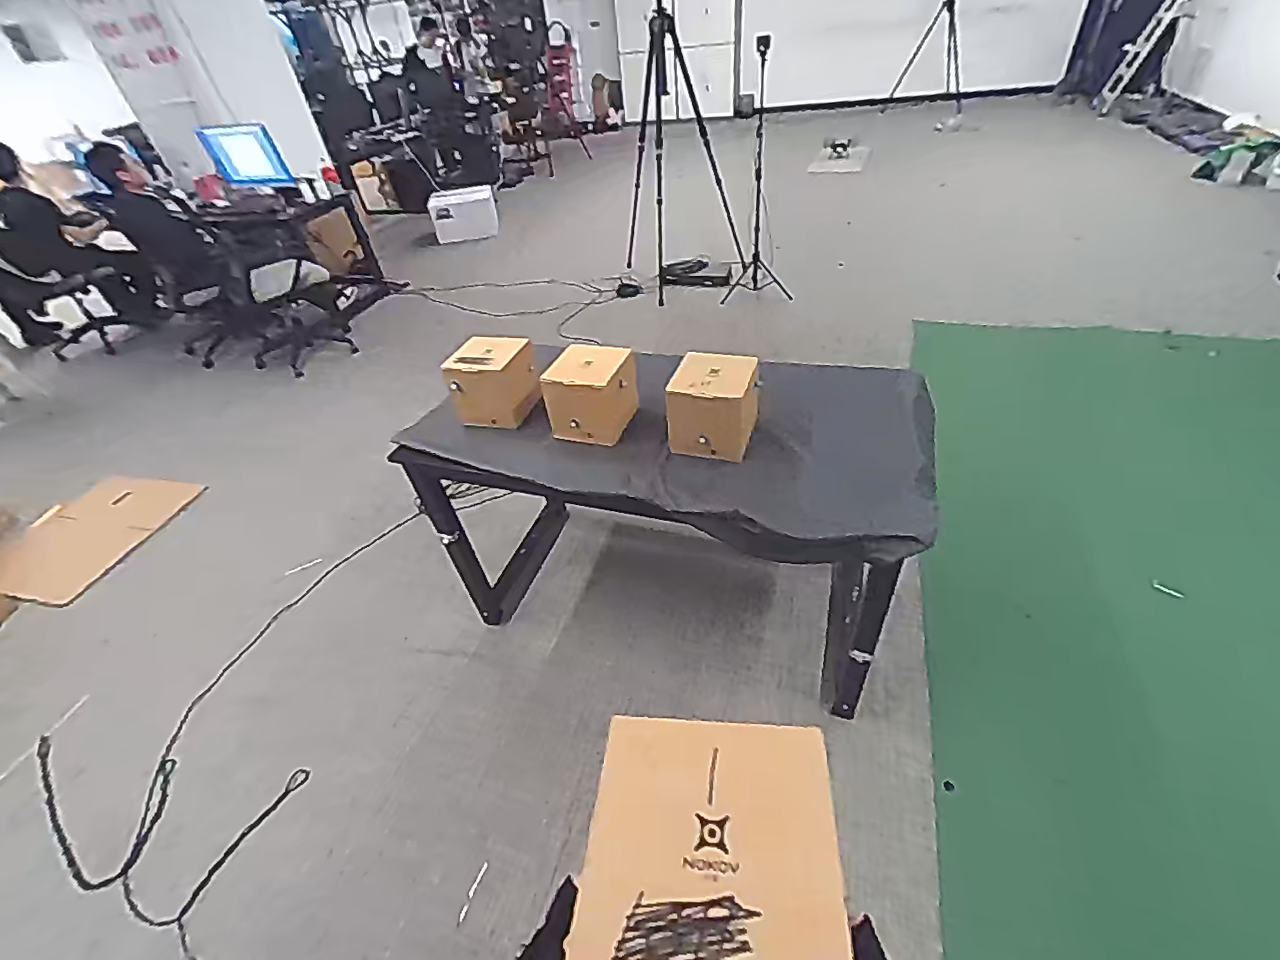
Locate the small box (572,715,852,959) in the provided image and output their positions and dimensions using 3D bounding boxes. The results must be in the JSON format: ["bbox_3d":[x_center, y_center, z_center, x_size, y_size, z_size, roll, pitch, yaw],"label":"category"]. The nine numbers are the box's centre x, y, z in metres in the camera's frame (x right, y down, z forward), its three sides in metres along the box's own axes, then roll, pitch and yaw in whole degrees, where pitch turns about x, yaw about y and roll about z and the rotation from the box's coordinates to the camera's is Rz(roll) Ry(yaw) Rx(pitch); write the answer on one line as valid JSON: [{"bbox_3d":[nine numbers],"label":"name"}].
[{"bbox_3d":[0.059,0.307,0.406,0.168,0.176,0.179,0,38,11],"label":"small box"}]

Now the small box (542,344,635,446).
[{"bbox_3d":[-0.115,-0.207,1.310,0.168,0.176,0.179,10,44,18],"label":"small box"}]

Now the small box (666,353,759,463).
[{"bbox_3d":[0.165,-0.163,1.218,0.168,0.176,0.179,10,44,19],"label":"small box"}]
